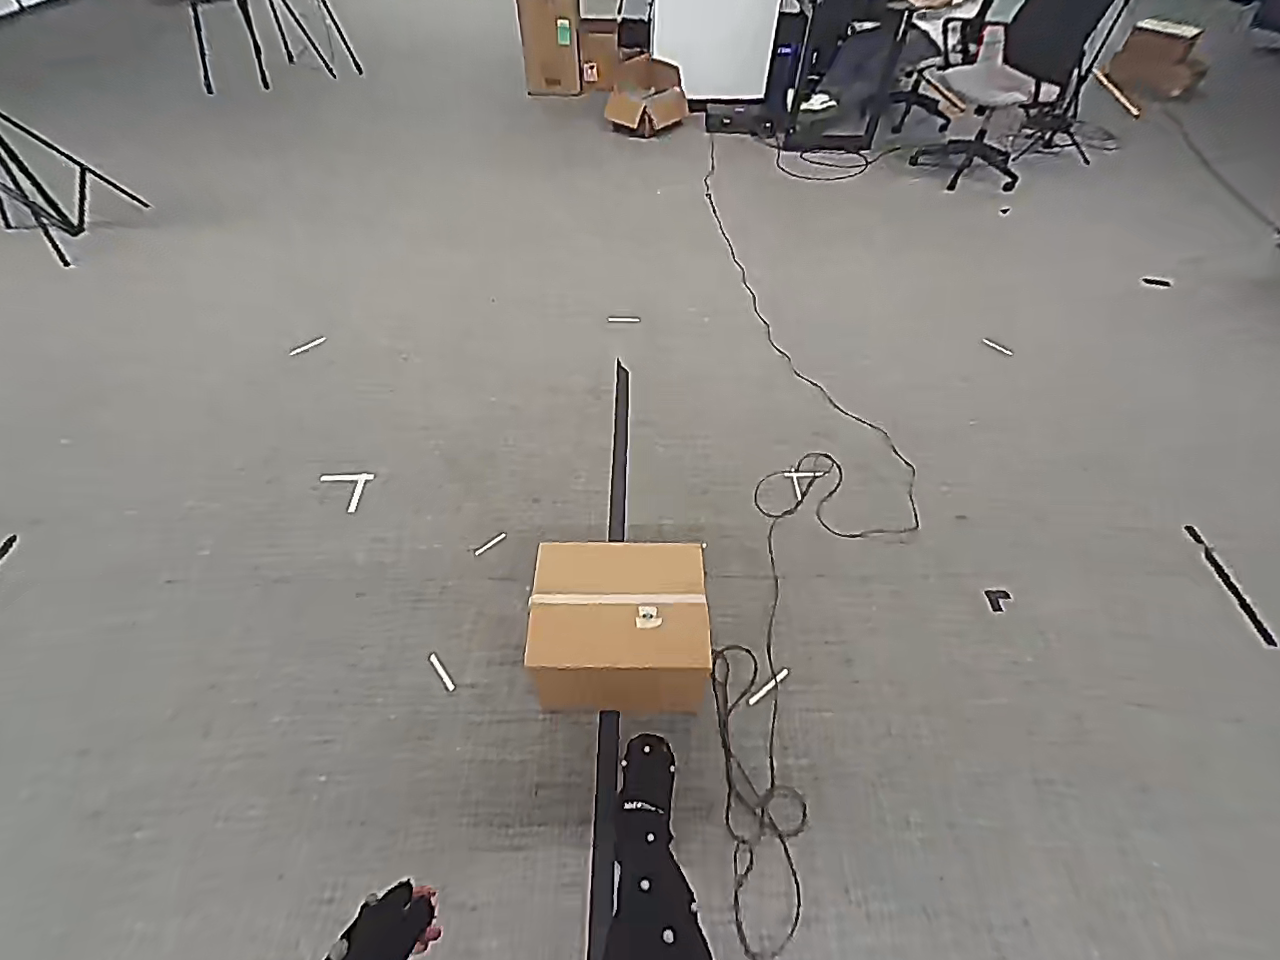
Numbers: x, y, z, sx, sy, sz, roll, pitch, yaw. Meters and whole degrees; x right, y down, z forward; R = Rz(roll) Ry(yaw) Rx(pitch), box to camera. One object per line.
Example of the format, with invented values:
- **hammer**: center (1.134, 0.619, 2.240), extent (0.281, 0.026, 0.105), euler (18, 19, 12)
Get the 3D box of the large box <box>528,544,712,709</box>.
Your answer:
- **large box**: center (-0.050, 0.373, 1.364), extent (0.408, 0.320, 0.320), euler (1, 51, -1)
